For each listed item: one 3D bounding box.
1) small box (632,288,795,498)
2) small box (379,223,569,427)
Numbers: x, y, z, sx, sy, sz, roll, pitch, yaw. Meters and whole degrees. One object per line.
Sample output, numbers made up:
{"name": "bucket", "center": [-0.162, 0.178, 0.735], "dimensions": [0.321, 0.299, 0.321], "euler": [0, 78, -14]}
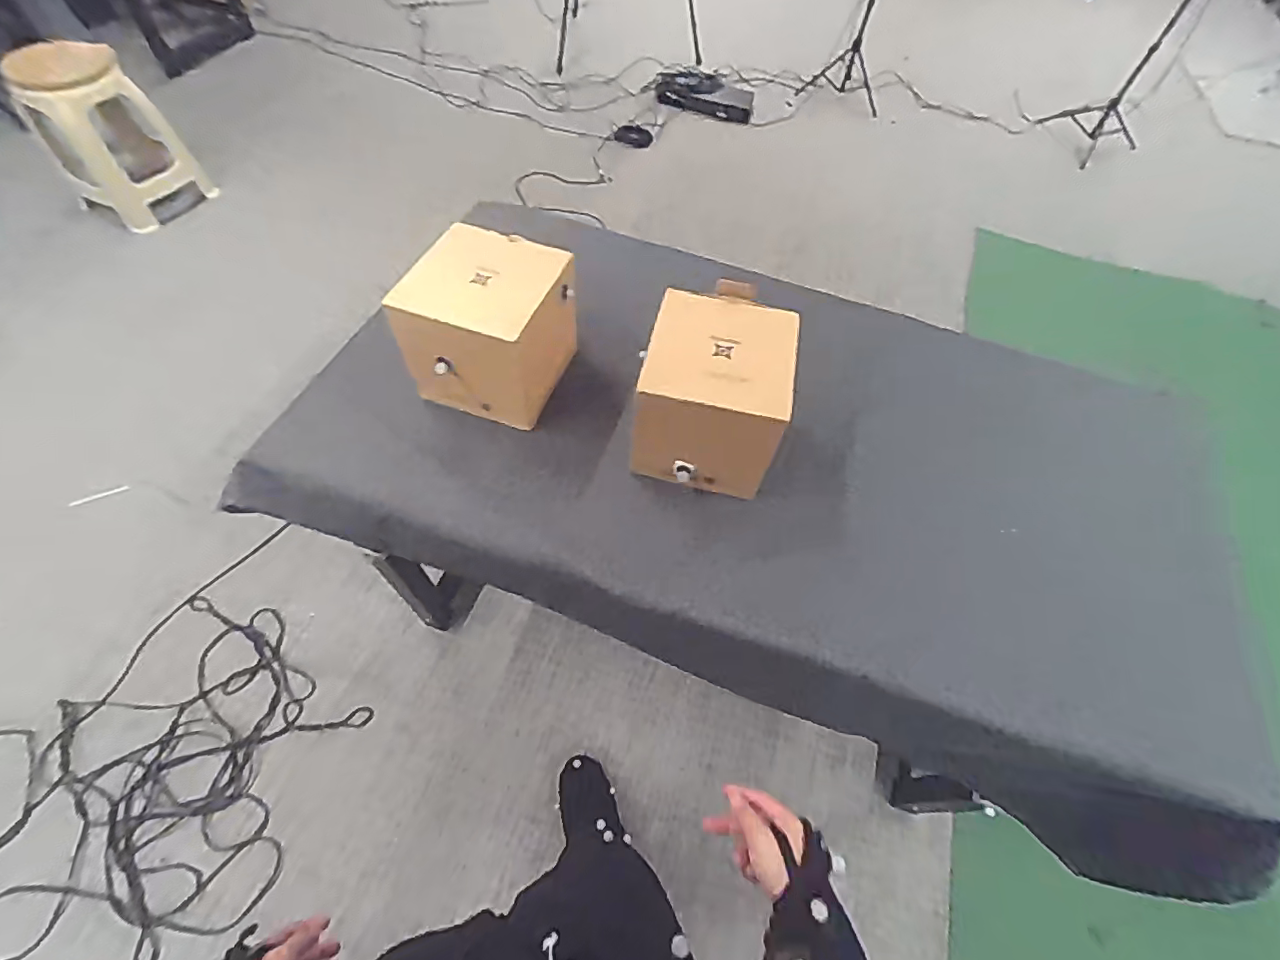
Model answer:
{"name": "small box", "center": [0.086, -0.105, 0.675], "dimensions": [0.168, 0.176, 0.179], "euler": [11, 58, 4]}
{"name": "small box", "center": [-0.197, -0.197, 0.709], "dimensions": [0.168, 0.176, 0.179], "euler": [17, 57, 6]}
